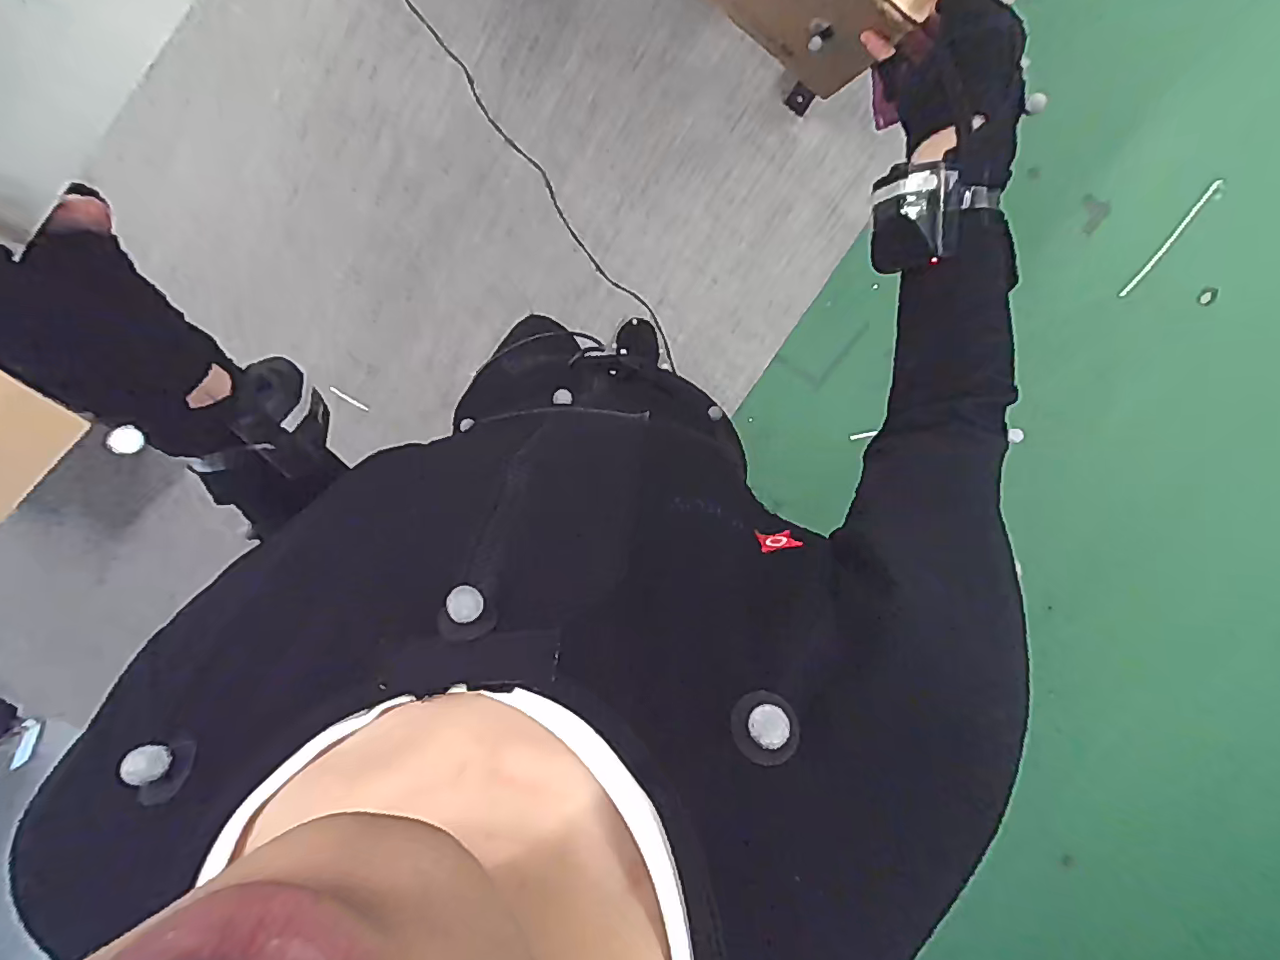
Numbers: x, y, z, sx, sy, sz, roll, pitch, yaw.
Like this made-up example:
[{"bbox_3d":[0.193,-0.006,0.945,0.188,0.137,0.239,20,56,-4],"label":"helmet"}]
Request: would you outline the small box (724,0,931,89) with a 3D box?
[{"bbox_3d":[0.167,-0.454,0.417,0.168,0.176,0.179,30,105,-15],"label":"small box"}]
